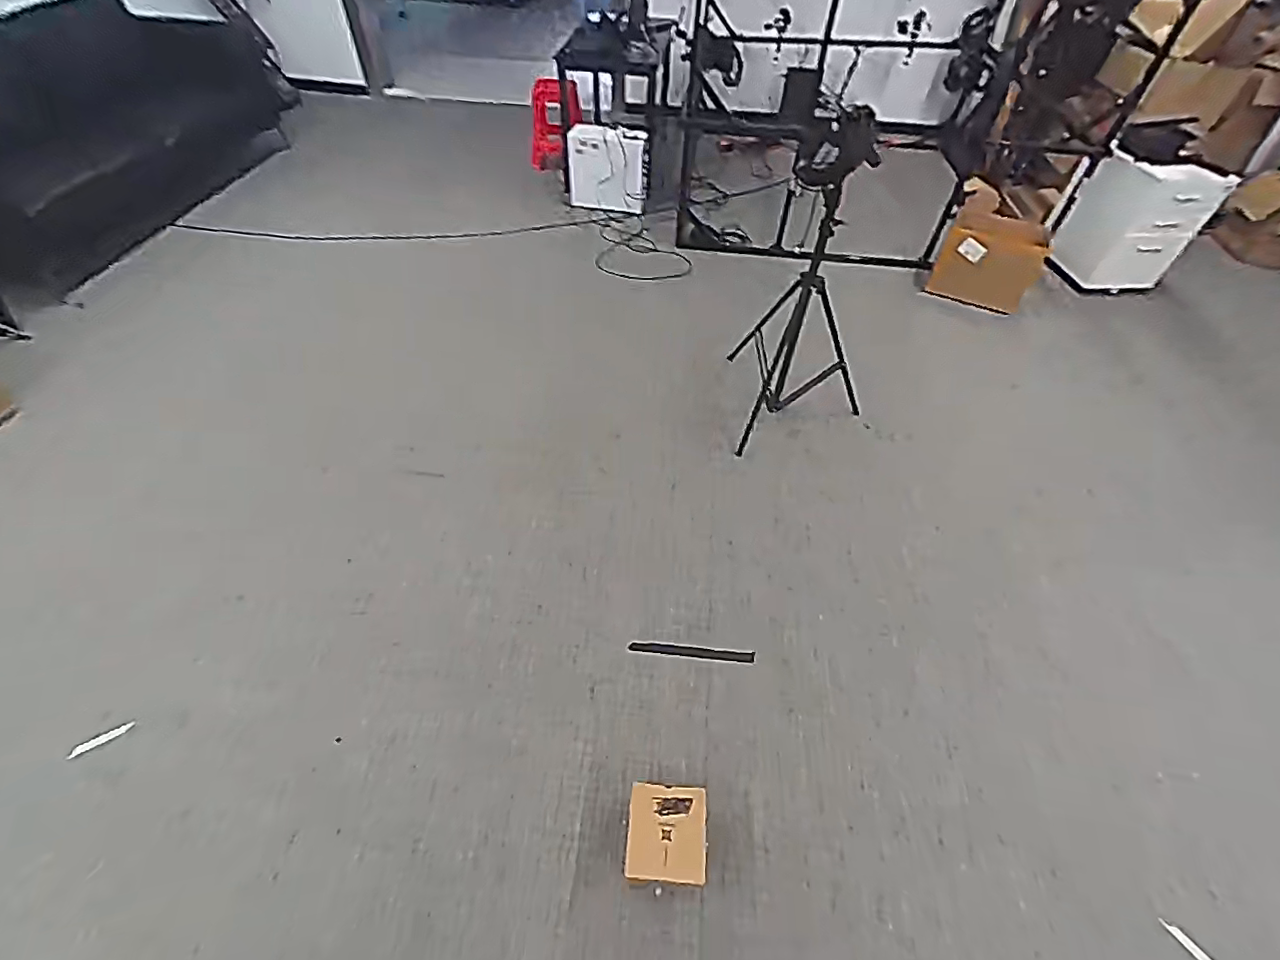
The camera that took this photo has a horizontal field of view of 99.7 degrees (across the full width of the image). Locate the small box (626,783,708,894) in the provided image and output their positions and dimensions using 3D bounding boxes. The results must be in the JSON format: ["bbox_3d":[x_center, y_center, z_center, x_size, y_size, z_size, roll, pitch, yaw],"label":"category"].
[{"bbox_3d":[0.058,0.793,1.193,0.168,0.176,0.179,5,50,2],"label":"small box"}]
